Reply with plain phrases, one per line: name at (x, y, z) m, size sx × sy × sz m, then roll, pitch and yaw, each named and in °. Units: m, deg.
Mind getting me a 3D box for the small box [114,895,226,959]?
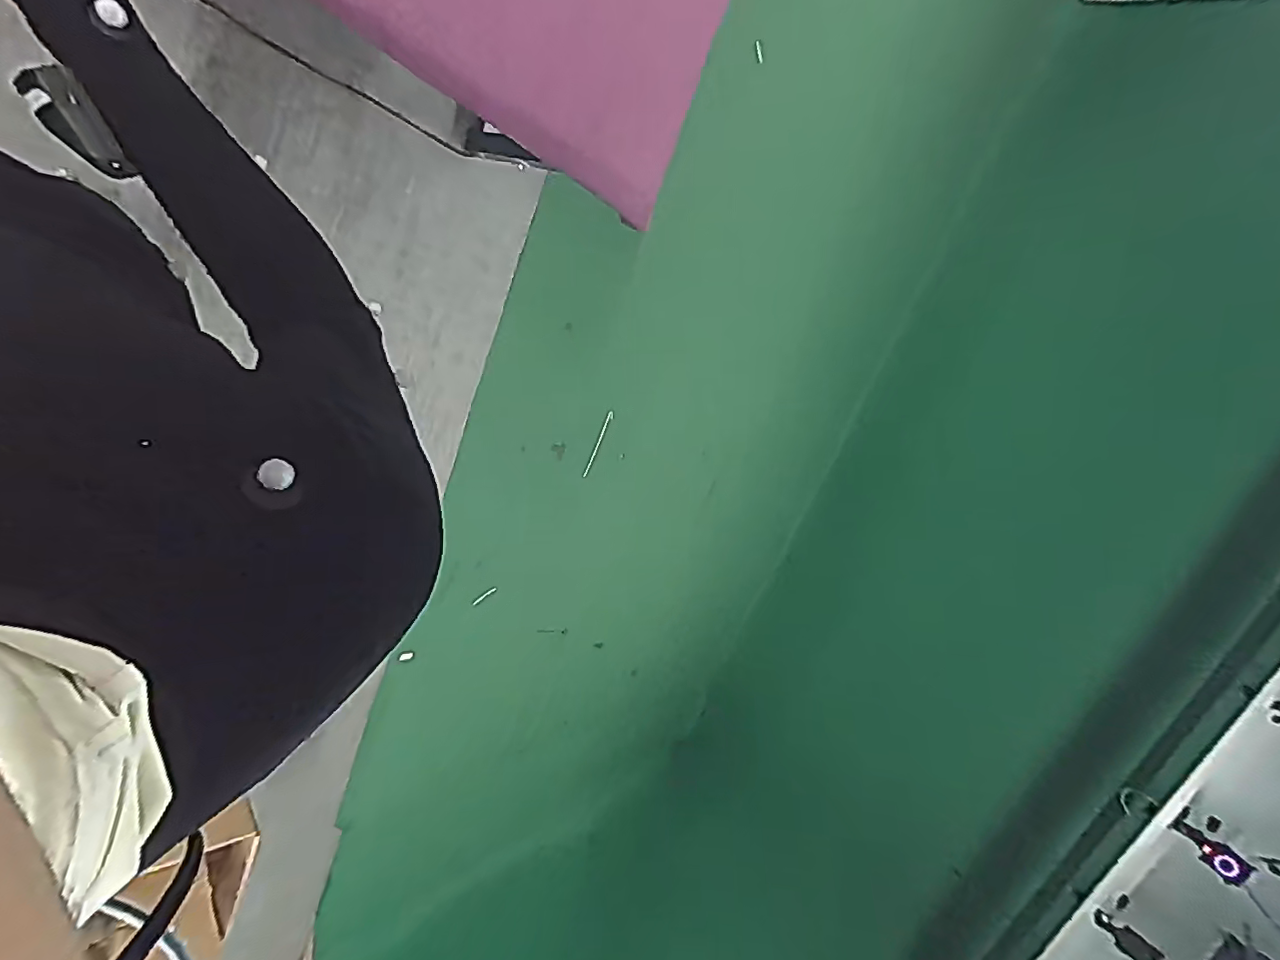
small box at (-1.073, 1.108, 1.226) m, size 0.168 × 0.176 × 0.179 m, roll 7°, pitch 112°, yaw -51°
